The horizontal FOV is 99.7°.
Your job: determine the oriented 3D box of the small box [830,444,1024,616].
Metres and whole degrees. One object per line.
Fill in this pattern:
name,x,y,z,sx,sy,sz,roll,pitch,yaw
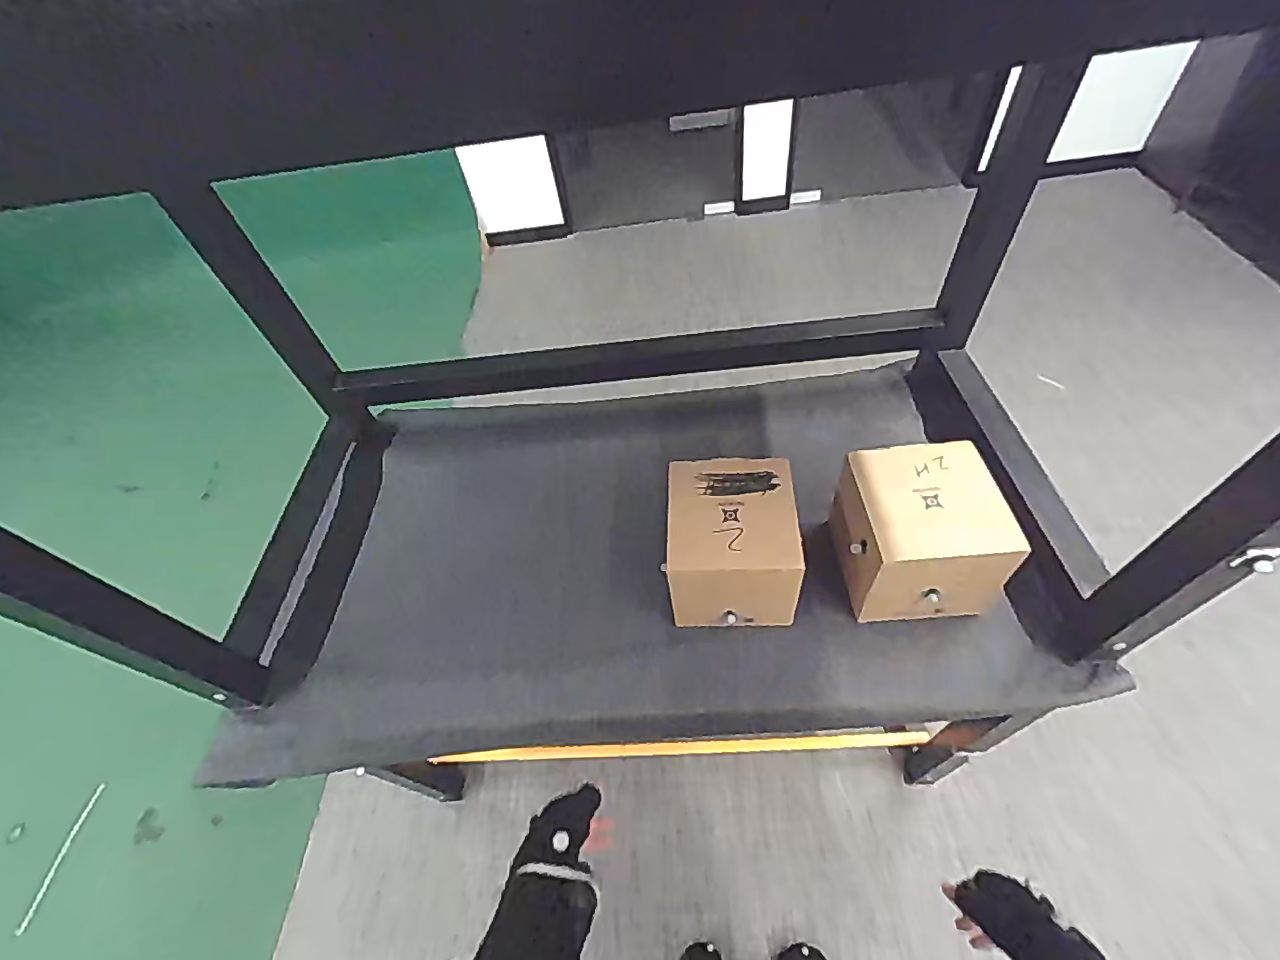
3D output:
small box,0.370,0.076,0.738,0.168,0.176,0.179,-5,50,5
